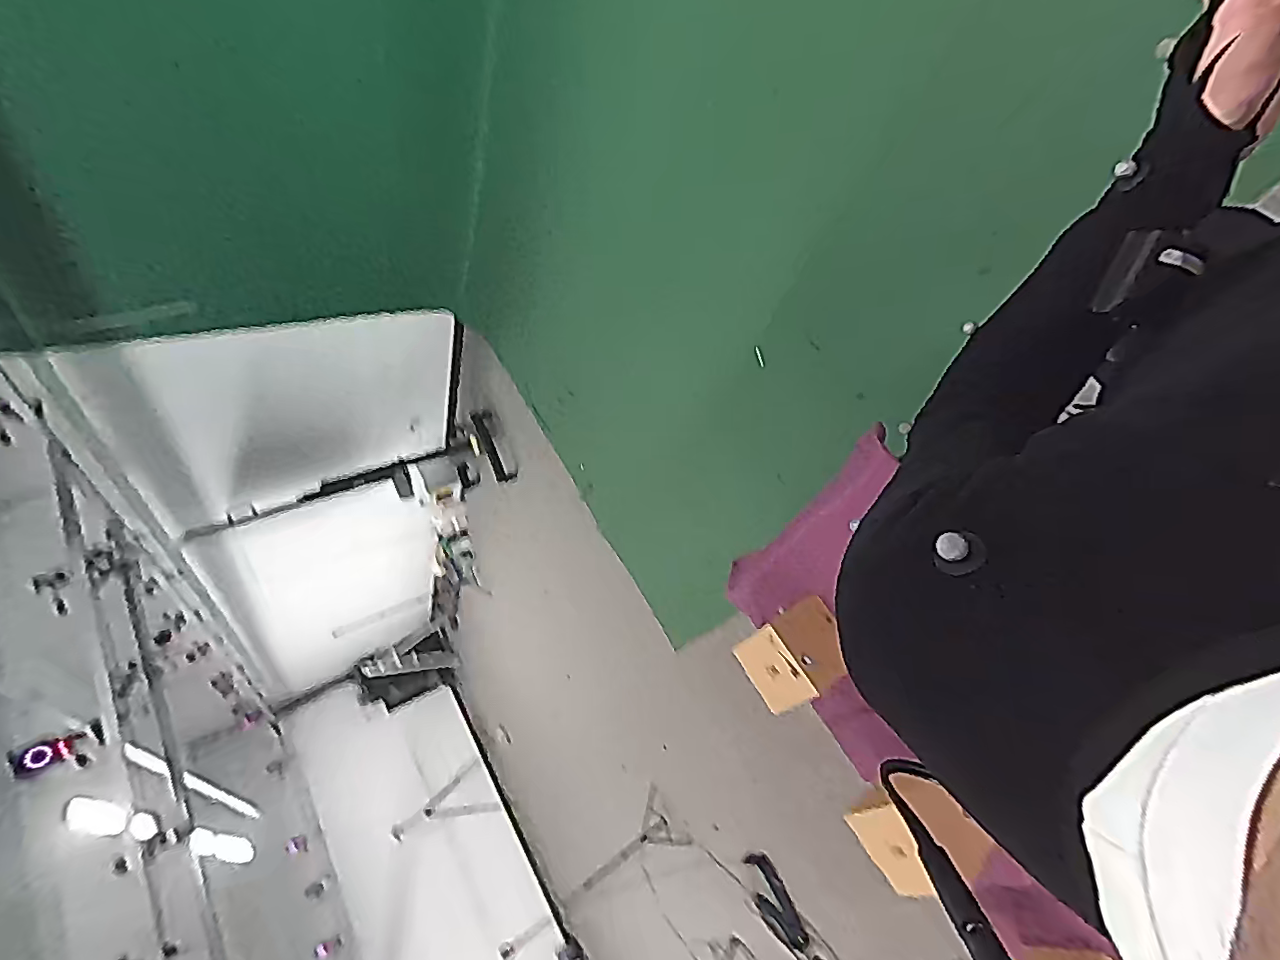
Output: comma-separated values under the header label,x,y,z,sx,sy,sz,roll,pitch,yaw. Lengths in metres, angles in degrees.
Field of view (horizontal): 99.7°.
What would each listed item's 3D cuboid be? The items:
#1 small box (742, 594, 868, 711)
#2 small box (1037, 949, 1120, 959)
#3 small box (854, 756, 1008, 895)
label,x,y,z,sx,sy,sz,roll,pitch,yaw
small box,0.371,0.387,1.220,0.168,0.176,0.179,55,145,20
small box,0.778,0.946,0.917,0.168,0.176,0.179,55,145,23
small box,0.578,0.684,1.077,0.168,0.176,0.179,54,143,22
